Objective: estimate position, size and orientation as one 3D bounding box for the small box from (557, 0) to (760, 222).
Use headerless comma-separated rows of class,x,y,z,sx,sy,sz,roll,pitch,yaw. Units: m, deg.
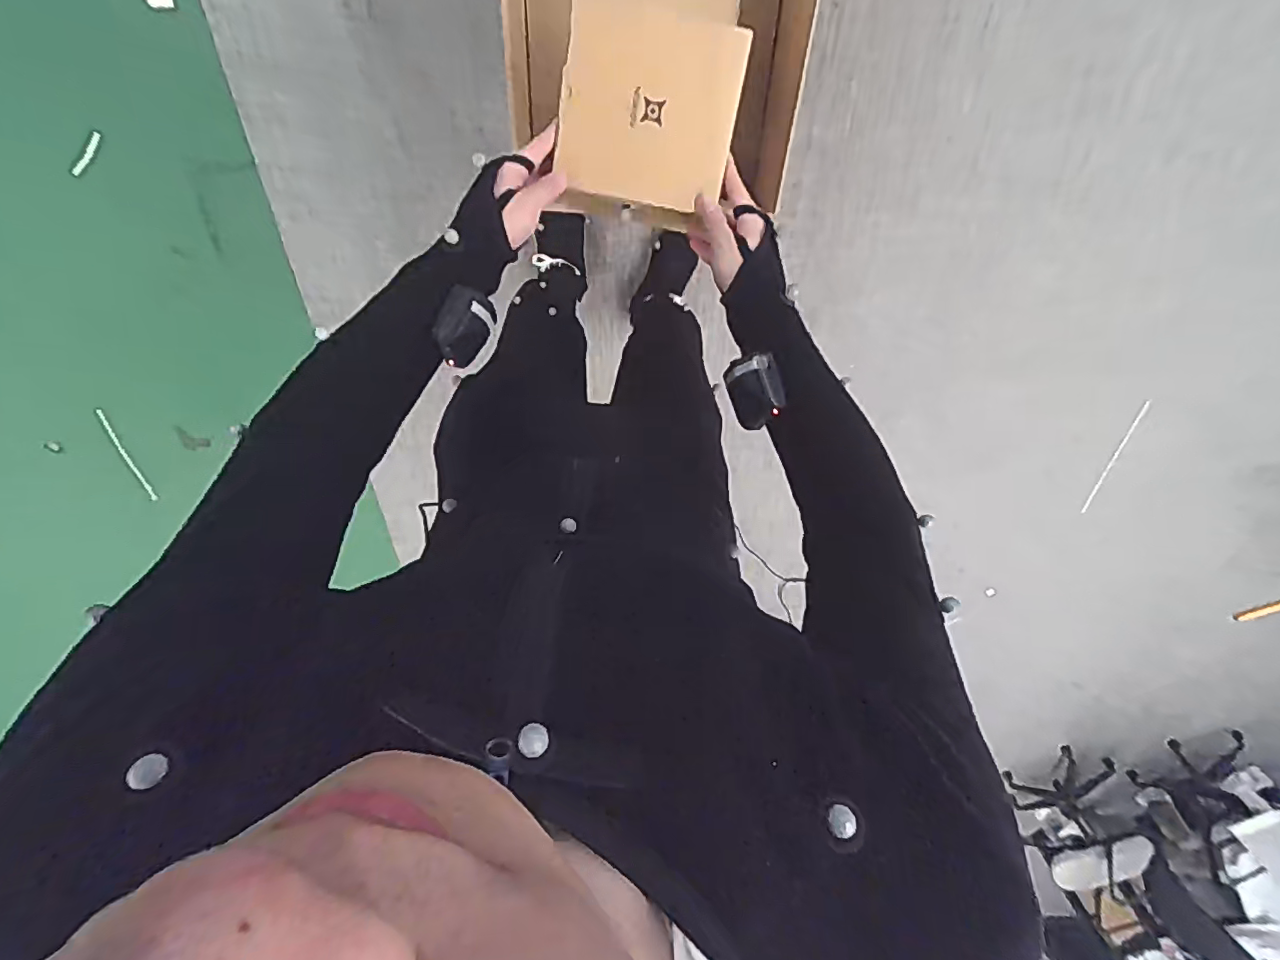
small box,0.013,-0.396,0.604,0.179,0.176,0.168,10,110,-4
